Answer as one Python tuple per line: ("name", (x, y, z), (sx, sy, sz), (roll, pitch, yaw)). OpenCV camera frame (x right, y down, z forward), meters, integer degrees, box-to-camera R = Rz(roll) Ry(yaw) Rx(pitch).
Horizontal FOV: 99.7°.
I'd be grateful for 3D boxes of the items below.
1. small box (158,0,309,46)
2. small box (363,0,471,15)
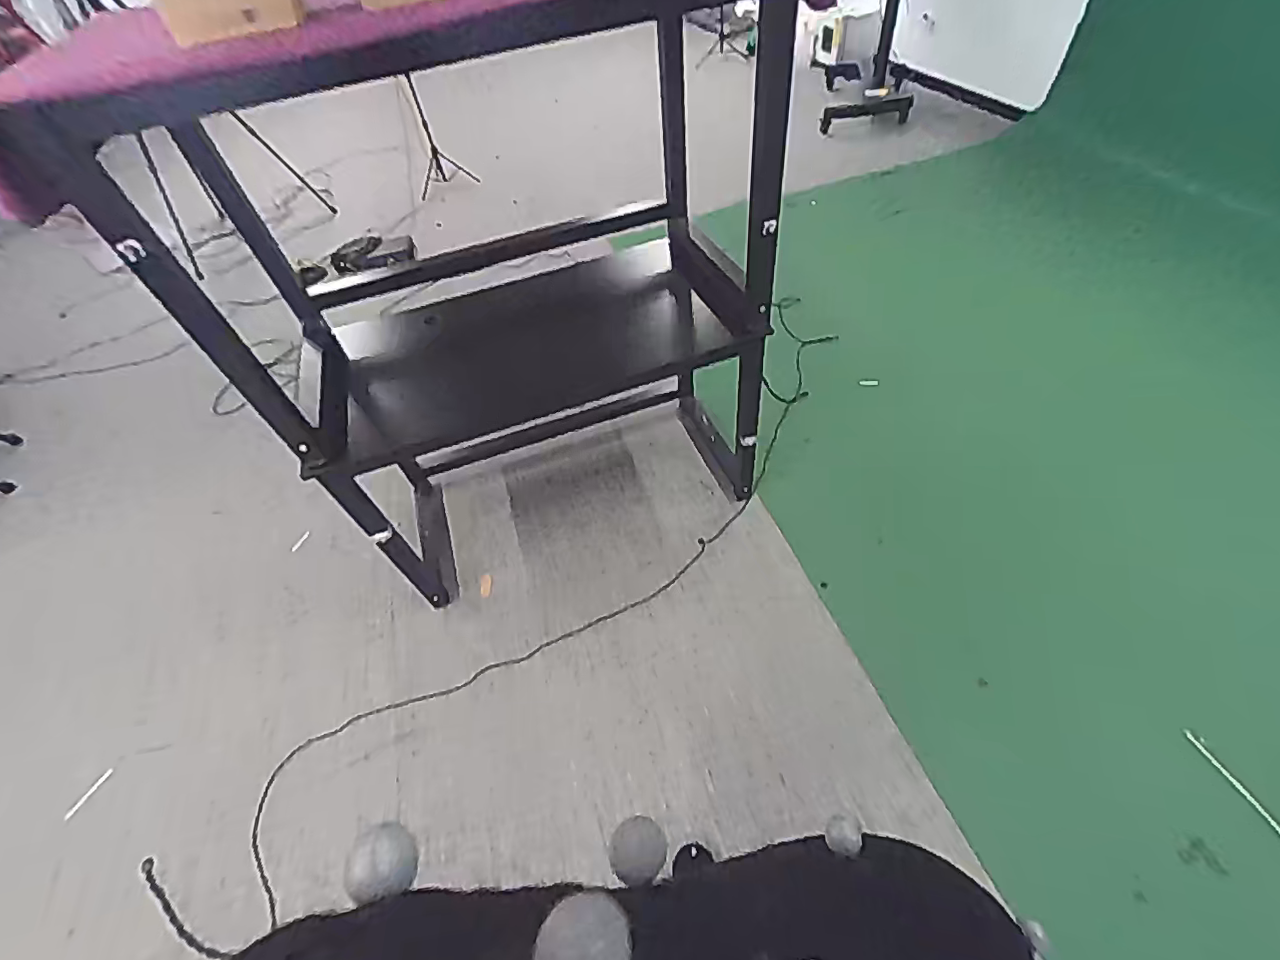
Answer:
("small box", (-0.592, -0.731, 0.755), (0.168, 0.176, 0.179), (-19, 49, -8))
("small box", (-0.355, -0.809, 0.792), (0.168, 0.176, 0.179), (-18, 50, -8))
